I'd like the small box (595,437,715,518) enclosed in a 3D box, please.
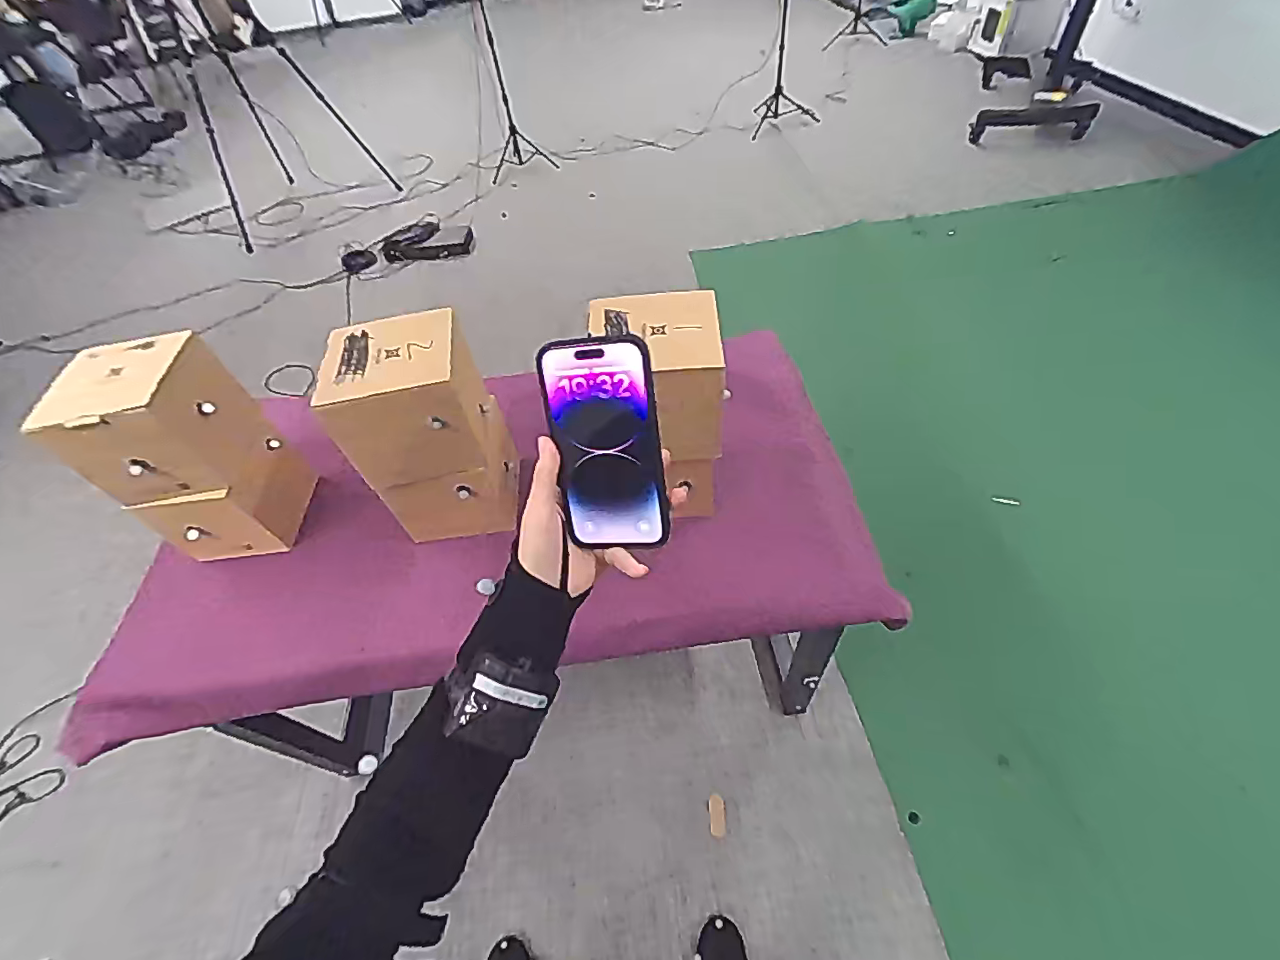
[{"bbox_3d":[0.031,-0.050,0.892,0.179,0.176,0.168,-3,50,6],"label":"small box"}]

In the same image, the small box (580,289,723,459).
[{"bbox_3d":[0.023,-0.142,0.756,0.179,0.176,0.168,-3,50,5],"label":"small box"}]

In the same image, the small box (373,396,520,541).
[{"bbox_3d":[-0.308,-0.015,0.907,0.179,0.176,0.168,-8,50,1],"label":"small box"}]

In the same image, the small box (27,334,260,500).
[{"bbox_3d":[-0.715,-0.087,0.809,0.168,0.176,0.179,-11,51,-2],"label":"small box"}]

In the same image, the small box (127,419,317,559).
[{"bbox_3d":[-0.697,0.023,0.931,0.168,0.176,0.179,-7,50,2],"label":"small box"}]
